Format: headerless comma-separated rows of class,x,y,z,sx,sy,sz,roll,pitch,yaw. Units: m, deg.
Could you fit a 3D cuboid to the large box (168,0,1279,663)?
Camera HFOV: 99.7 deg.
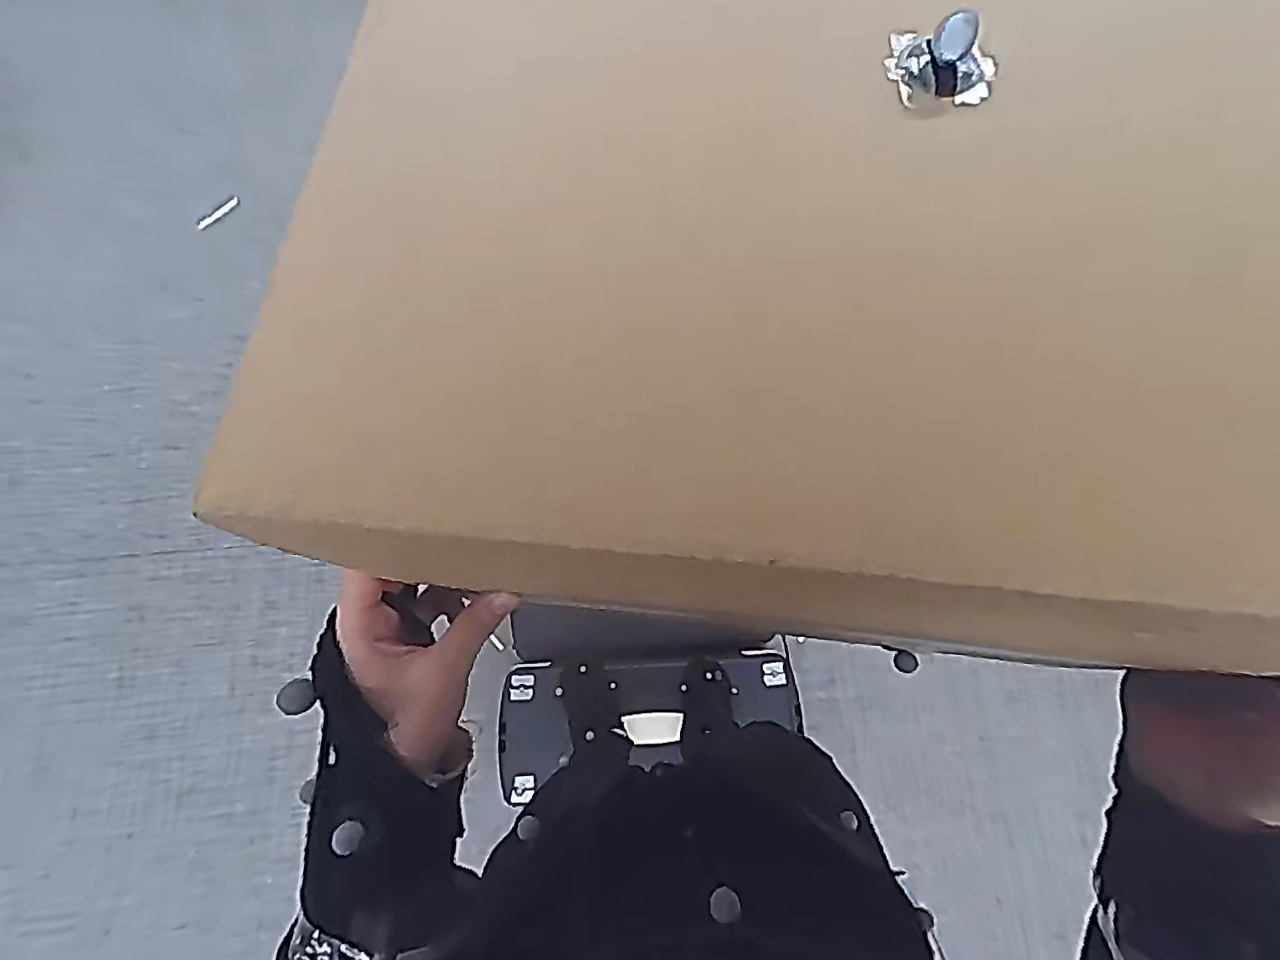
large box,0.083,-0.077,0.314,0.408,0.320,0.320,3,74,4

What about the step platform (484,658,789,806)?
step platform,-0.007,0.573,1.255,0.684,0.204,0.286,1,74,0
